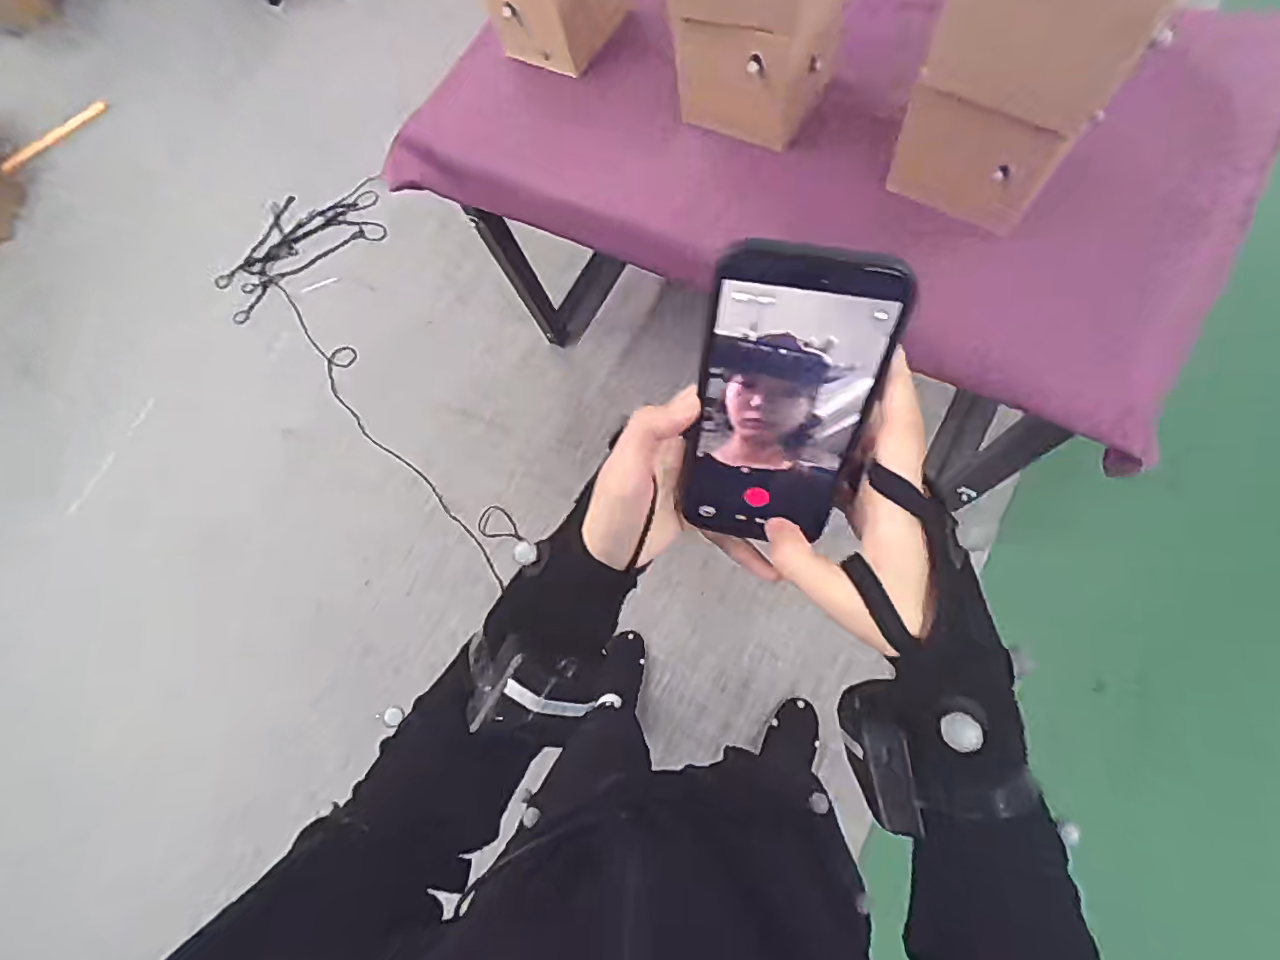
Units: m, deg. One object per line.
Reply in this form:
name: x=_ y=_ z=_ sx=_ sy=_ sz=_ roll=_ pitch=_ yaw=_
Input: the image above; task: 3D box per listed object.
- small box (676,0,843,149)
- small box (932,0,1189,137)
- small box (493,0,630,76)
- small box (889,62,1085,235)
small box: x=0.175 y=-0.619 z=0.775 sx=0.179 sy=0.176 sz=0.168 roll=30 pitch=81 yaw=18
small box: x=0.418 y=-0.473 z=0.513 sx=0.179 sy=0.176 sz=0.168 roll=36 pitch=82 yaw=18
small box: x=-0.135 y=-0.823 z=0.897 sx=0.168 sy=0.176 sz=0.179 roll=31 pitch=81 yaw=18
small box: x=0.448 y=-0.443 z=0.672 sx=0.179 sy=0.176 sz=0.168 roll=37 pitch=82 yaw=19
